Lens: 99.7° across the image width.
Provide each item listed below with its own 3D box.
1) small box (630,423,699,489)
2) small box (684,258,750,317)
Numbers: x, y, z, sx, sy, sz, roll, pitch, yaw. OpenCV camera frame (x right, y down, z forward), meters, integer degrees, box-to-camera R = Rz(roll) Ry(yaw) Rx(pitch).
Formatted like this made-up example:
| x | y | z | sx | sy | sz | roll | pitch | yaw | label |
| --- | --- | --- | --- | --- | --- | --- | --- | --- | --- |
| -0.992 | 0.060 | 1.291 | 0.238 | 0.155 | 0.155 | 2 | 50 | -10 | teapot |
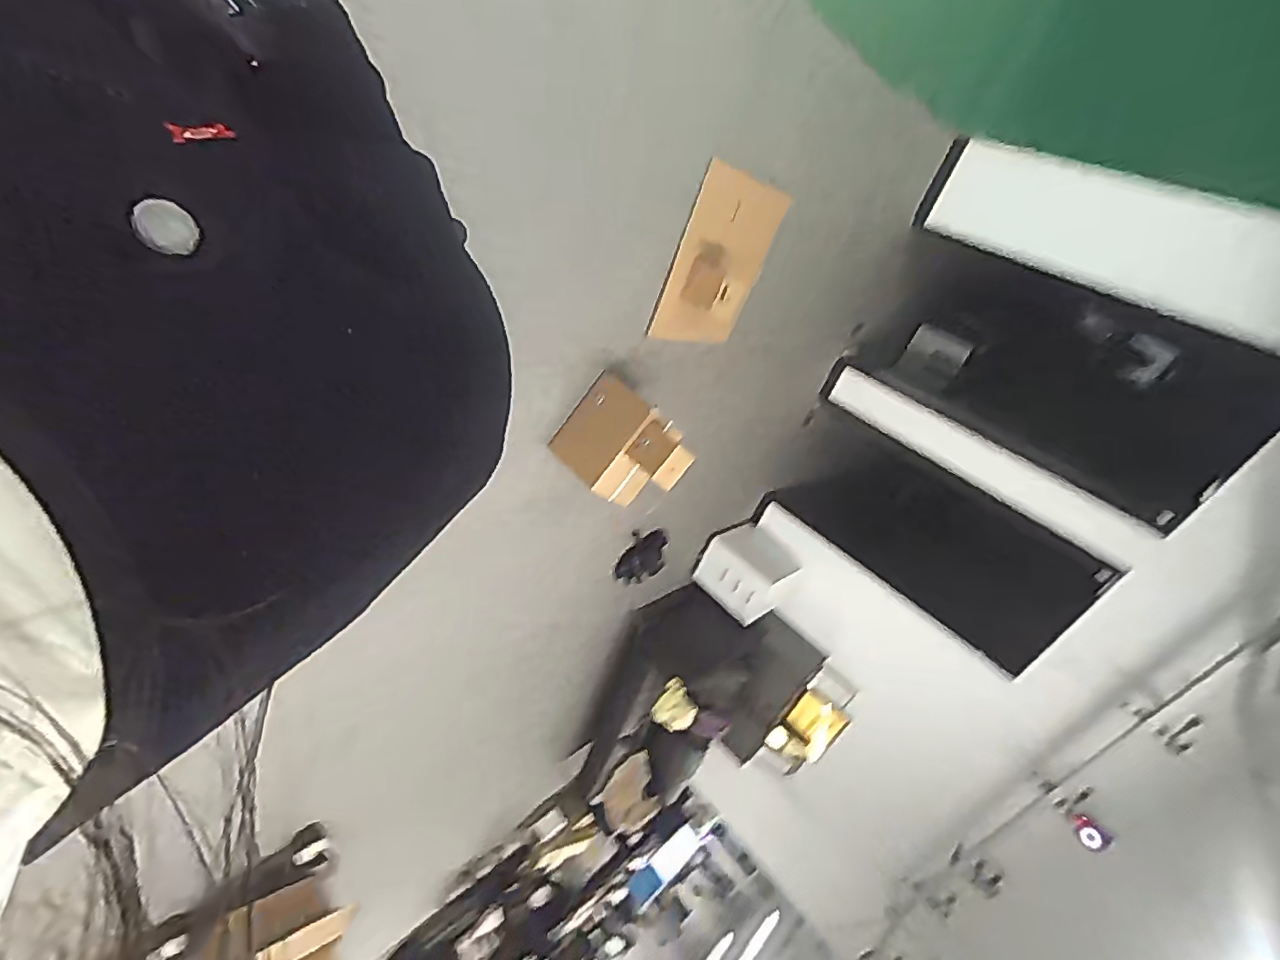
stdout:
| x | y | z | sx | sy | sz | roll | pitch | yaw | label |
| --- | --- | --- | --- | --- | --- | --- | --- | --- | --- |
| 0.094 | -0.096 | 2.100 | 0.168 | 0.176 | 0.179 | -53 | 148 | 2 | small box |
| 0.310 | -0.786 | 2.204 | 0.179 | 0.176 | 0.168 | -8 | 129 | -51 | small box |
